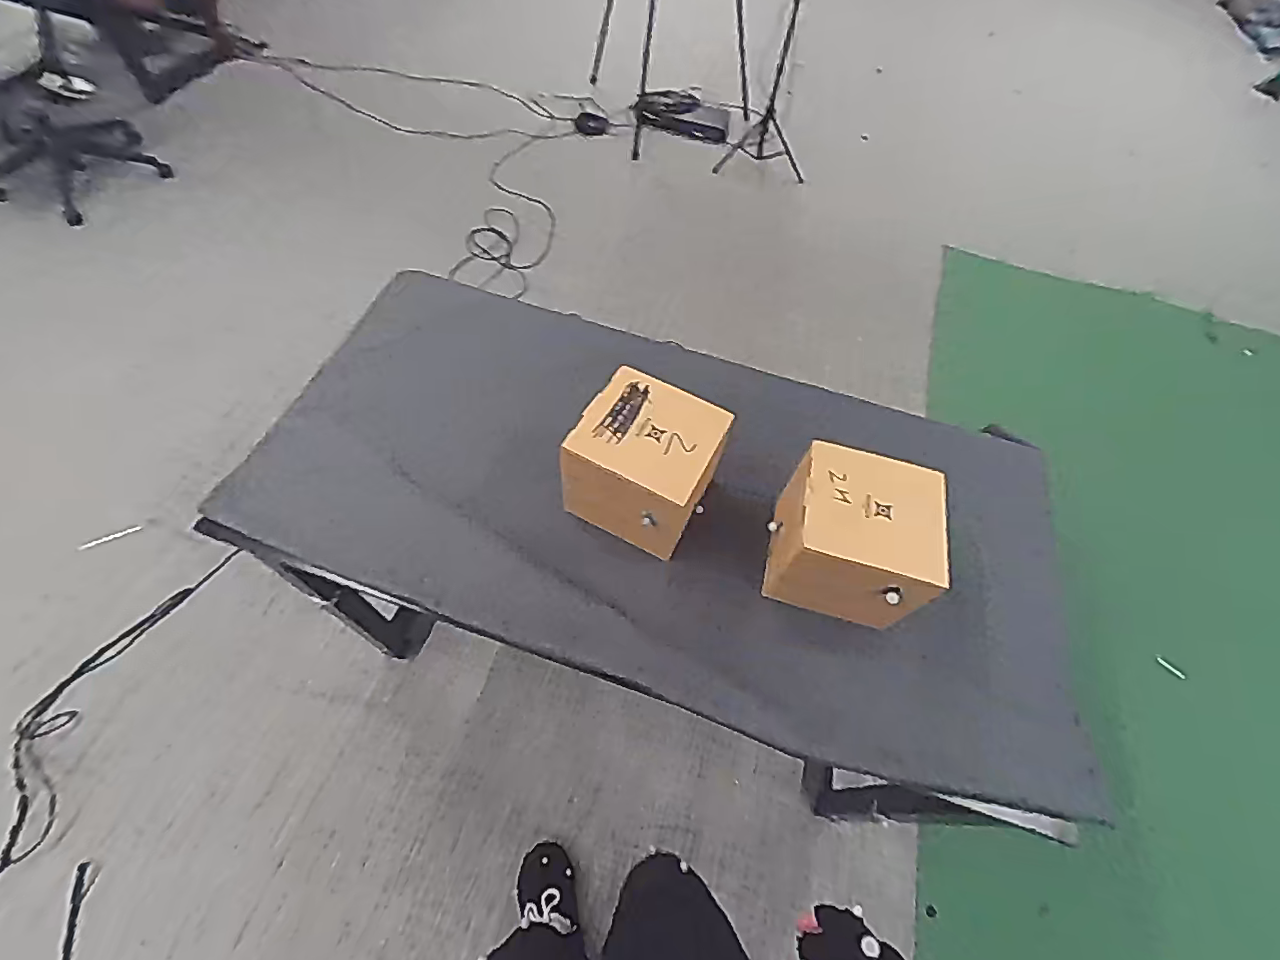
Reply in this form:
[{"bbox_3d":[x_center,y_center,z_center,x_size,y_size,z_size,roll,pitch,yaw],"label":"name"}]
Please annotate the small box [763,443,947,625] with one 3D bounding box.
[{"bbox_3d":[0.283,0.080,0.732,0.179,0.176,0.168,15,57,5],"label":"small box"}]
